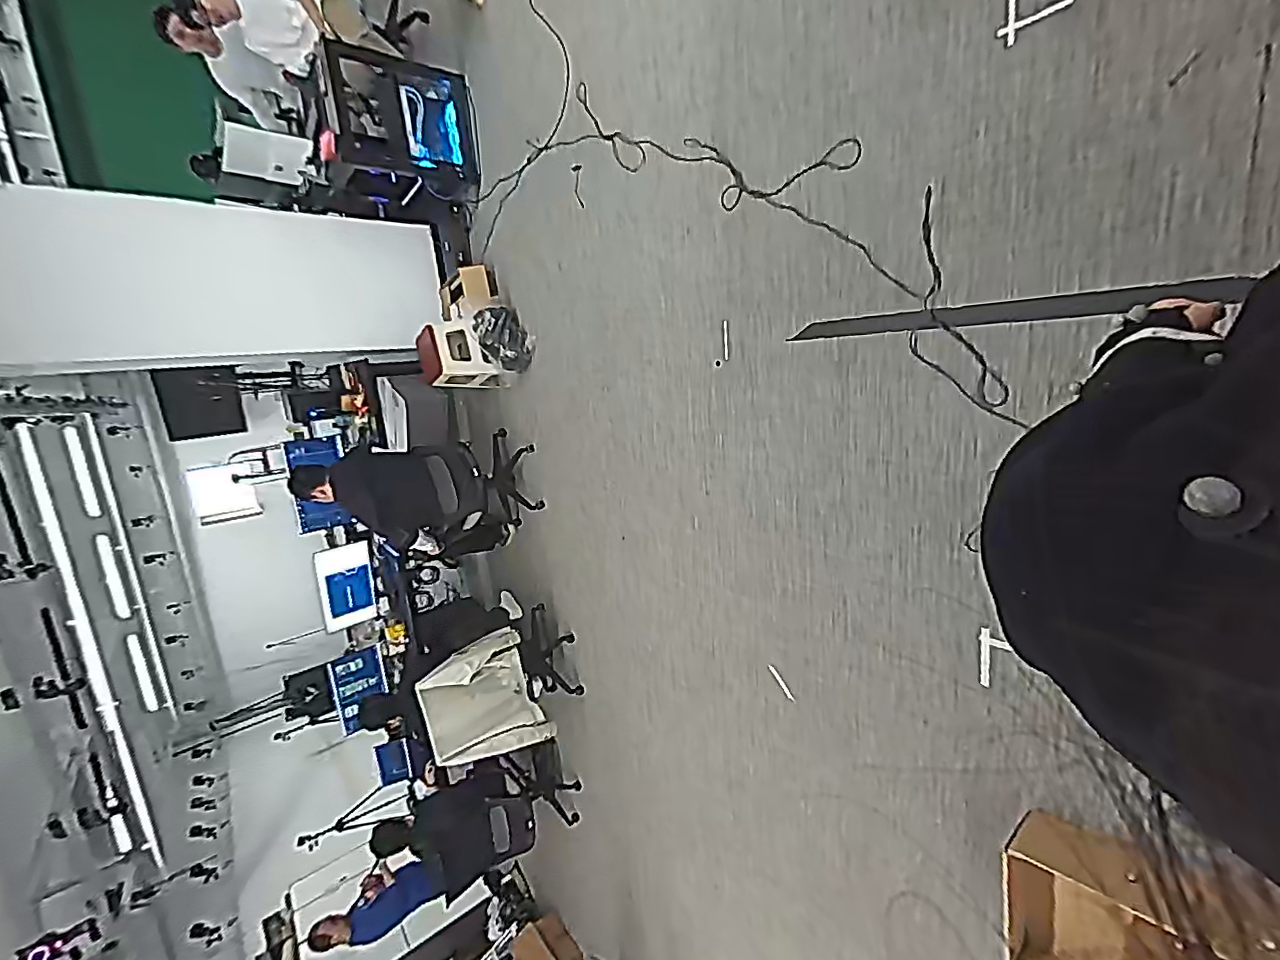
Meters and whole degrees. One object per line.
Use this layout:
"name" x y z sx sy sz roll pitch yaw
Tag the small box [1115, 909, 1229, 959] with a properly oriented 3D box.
"small box" 1.169 1.113 1.185 0.168 0.176 0.179 1 102 51
